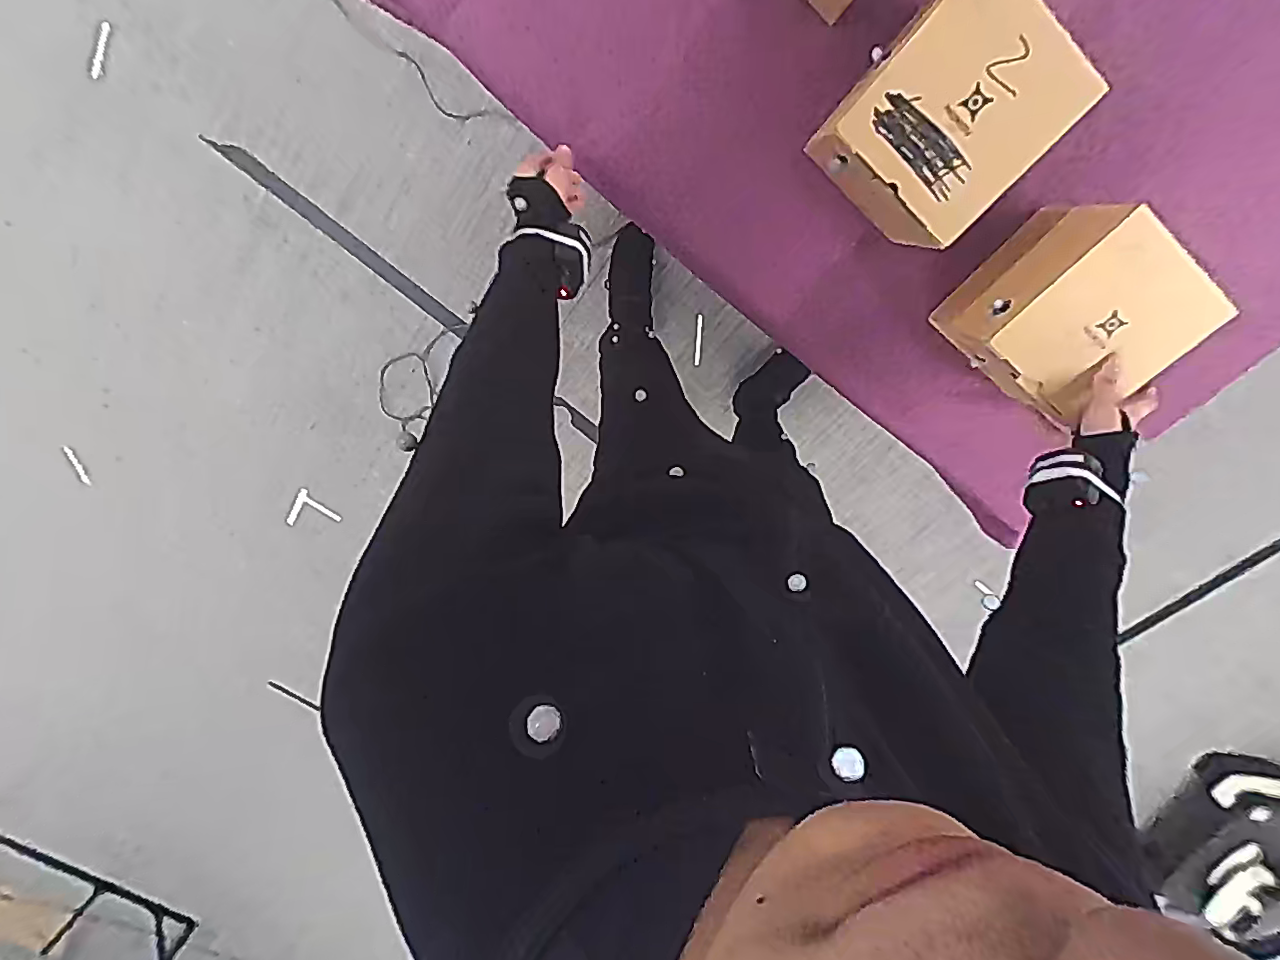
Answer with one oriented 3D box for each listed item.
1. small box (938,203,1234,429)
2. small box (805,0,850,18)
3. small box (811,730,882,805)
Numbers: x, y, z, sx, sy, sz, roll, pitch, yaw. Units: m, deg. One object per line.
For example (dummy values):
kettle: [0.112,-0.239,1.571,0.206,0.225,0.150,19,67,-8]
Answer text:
small box: [0.499,-0.198,0.639,0.168,0.176,0.179,36,115,-12]
small box: [0.198,-0.578,0.479,0.168,0.176,0.179,39,114,-12]
small box: [0.781,1.092,2.069,0.179,0.176,0.168,35,115,-12]
